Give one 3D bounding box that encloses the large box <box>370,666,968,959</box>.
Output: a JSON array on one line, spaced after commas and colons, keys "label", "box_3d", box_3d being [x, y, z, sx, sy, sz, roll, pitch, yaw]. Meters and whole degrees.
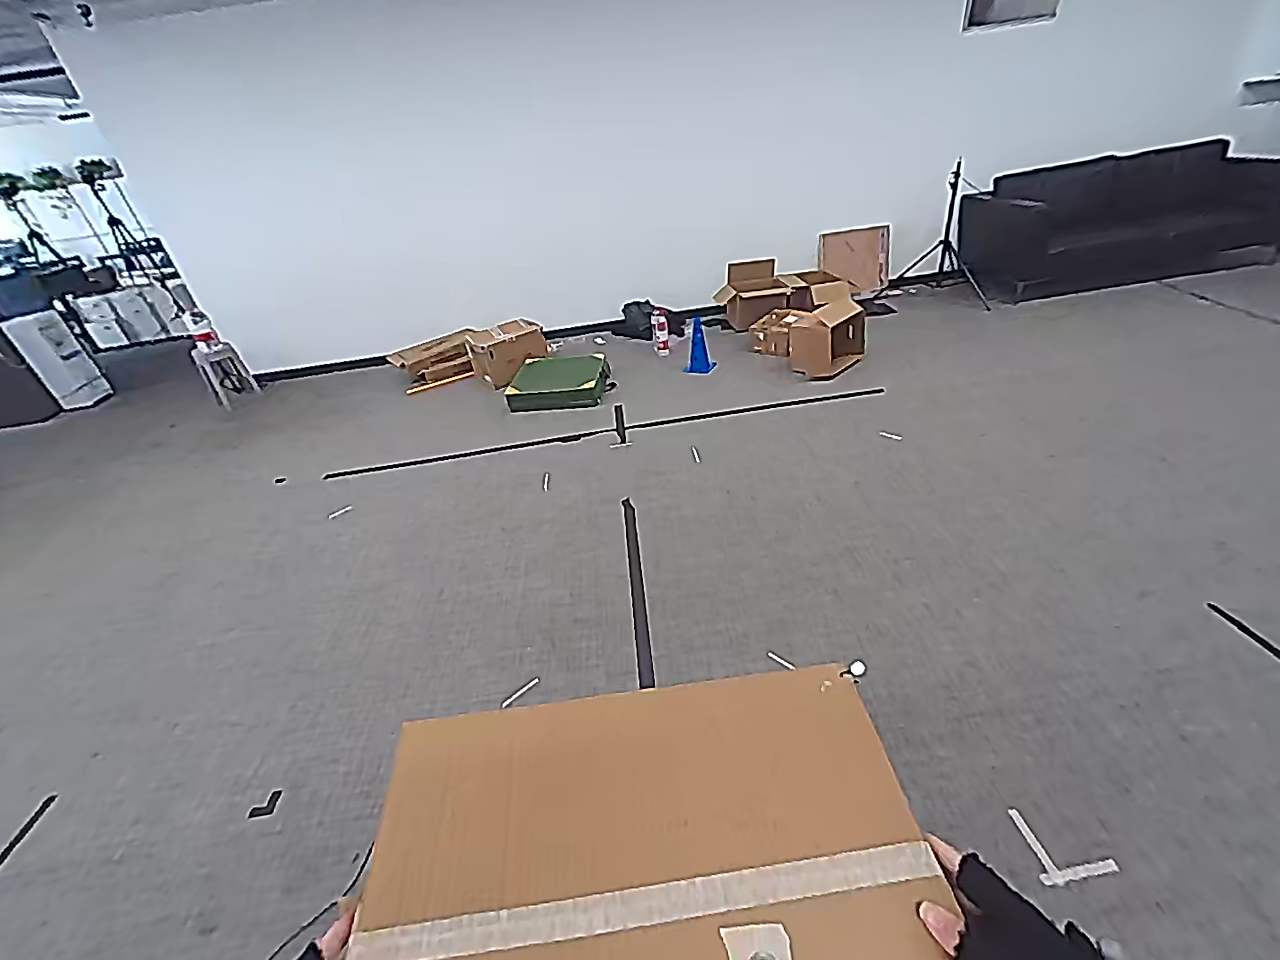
[{"label": "large box", "box_3d": [0.017, 0.411, 0.482, 0.408, 0.320, 0.320, -6, 41, -4]}]
